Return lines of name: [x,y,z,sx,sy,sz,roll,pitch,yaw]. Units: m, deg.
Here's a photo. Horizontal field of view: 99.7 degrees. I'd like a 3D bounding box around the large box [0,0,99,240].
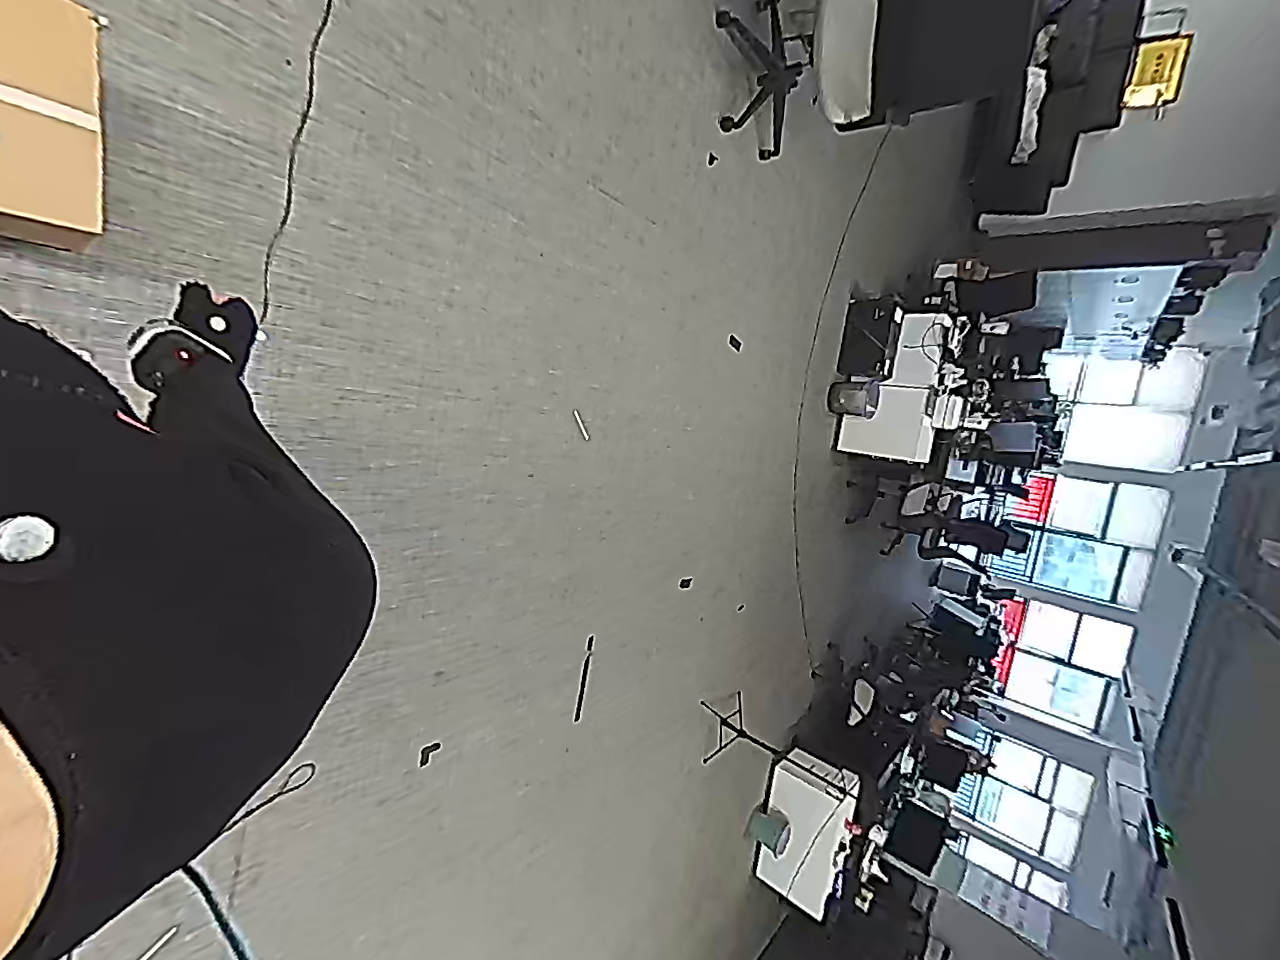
large box: [-1.067,-0.564,0.756,0.408,0.320,0.320,-3,104,-51]
